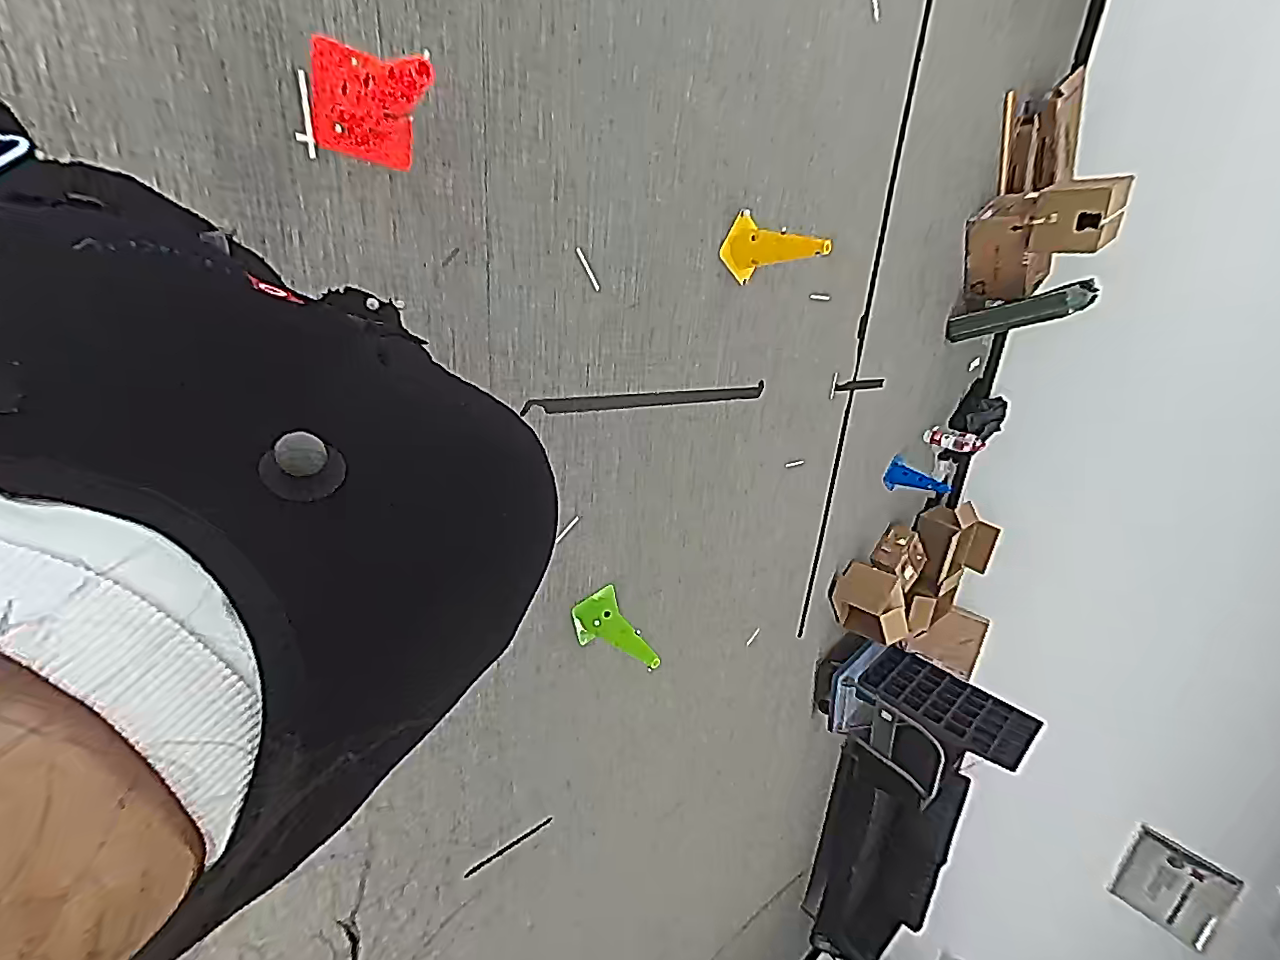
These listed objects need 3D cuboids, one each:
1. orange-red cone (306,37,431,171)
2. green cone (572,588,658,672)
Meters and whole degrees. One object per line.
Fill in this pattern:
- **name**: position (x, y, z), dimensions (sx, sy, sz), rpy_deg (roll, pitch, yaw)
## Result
- **orange-red cone**: position (-0.482, -0.739, 1.033), dimensions (0.199, 0.360, 0.198), rpy_deg (-4, 110, -43)
- **green cone**: position (-0.061, 0.587, 1.989), dimensions (0.202, 0.368, 0.200), rpy_deg (-28, 124, -30)
